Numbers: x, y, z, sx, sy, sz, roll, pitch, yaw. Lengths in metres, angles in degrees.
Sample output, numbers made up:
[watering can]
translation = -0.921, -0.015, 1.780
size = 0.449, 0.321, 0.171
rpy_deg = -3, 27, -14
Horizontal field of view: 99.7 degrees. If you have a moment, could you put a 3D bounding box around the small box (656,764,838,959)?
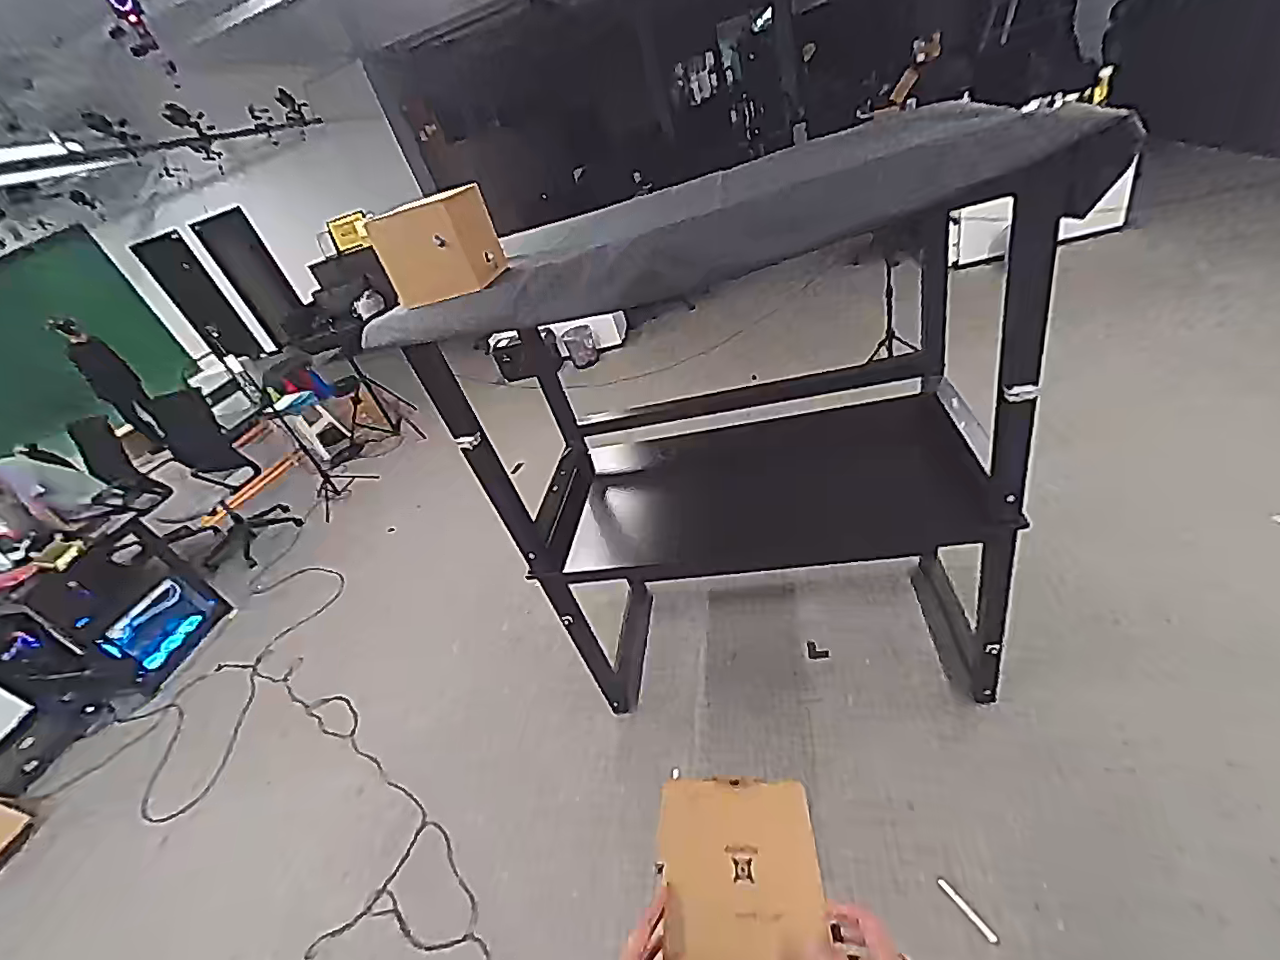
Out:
[small box]
translation = 0.103, 0.453, 0.616
size = 0.168, 0.176, 0.179
rpy_deg = 1, 39, 0
